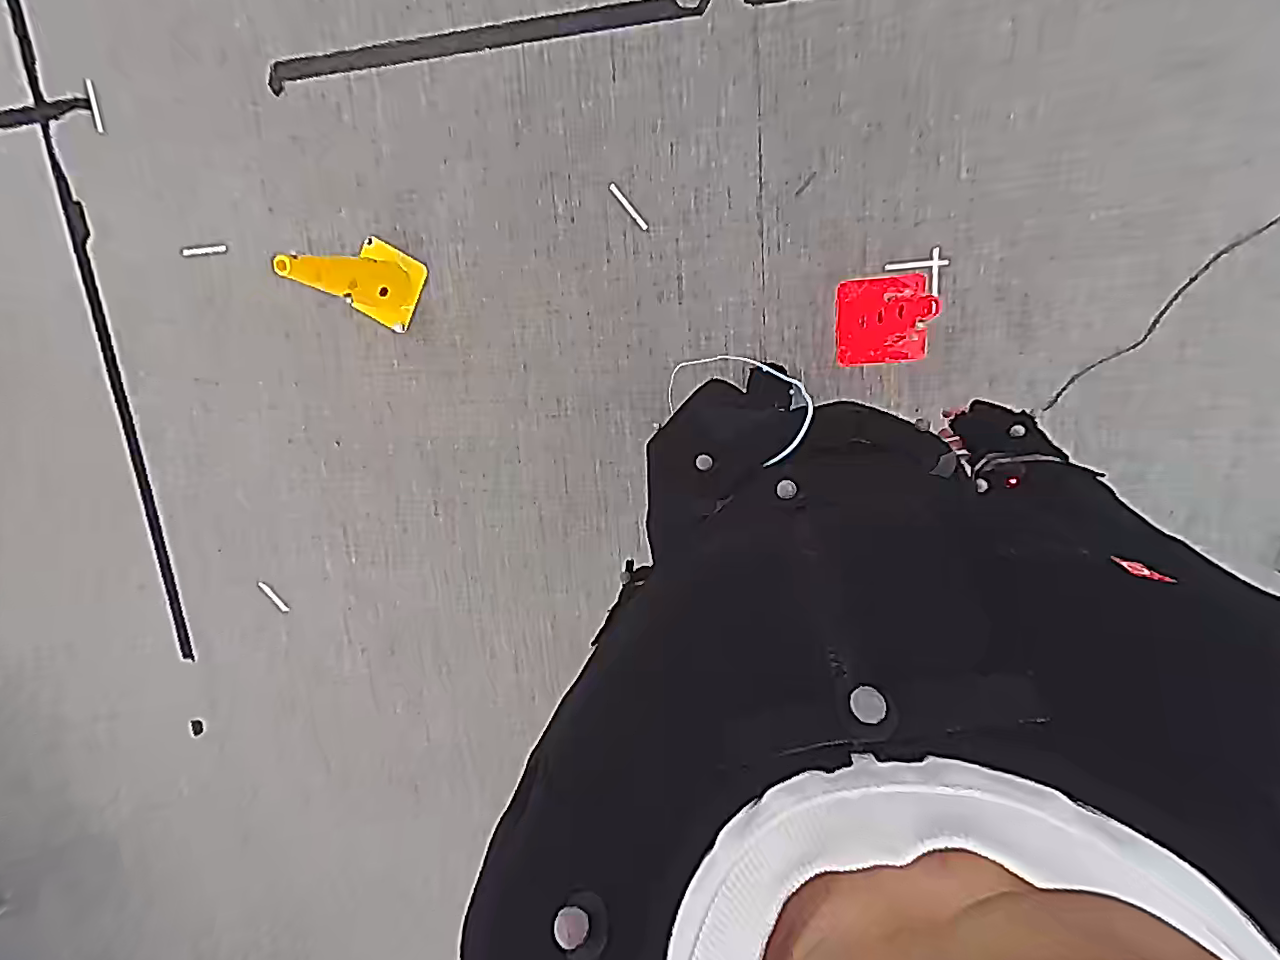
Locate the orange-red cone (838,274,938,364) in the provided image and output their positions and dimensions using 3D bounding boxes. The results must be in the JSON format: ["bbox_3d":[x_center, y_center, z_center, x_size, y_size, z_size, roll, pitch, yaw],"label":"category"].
[{"bbox_3d":[0.538,-0.346,1.117,0.199,0.360,0.198,-1,101,12],"label":"orange-red cone"}]
